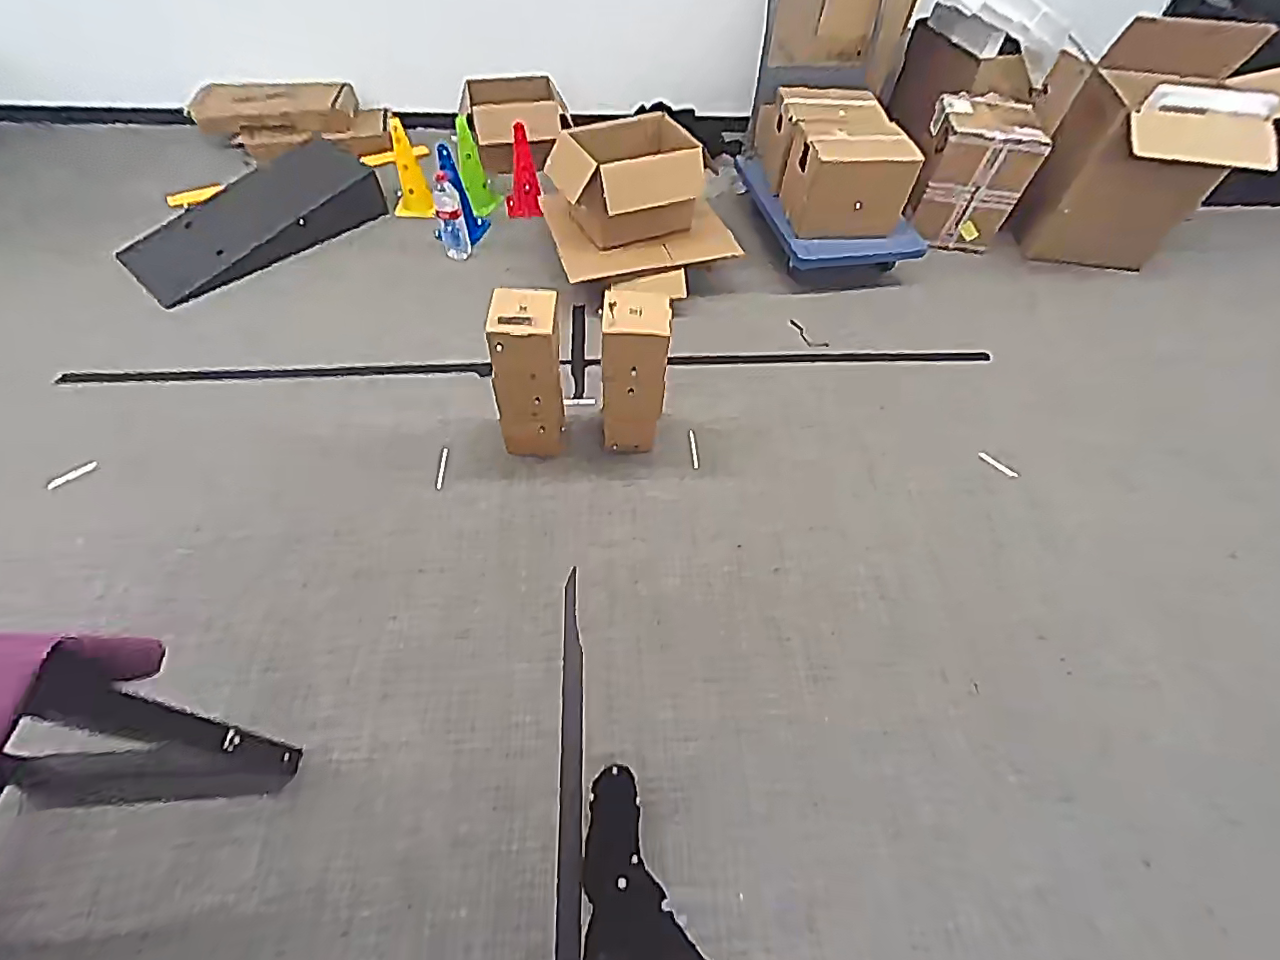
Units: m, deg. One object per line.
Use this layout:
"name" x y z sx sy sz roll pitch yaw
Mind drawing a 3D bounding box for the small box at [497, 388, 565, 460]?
"small box" -0.338 -0.179 1.709 0.179 0.176 0.168 3 54 -1

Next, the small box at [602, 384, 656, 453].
"small box" -0.037 -0.198 1.740 0.168 0.176 0.179 -2 54 -5

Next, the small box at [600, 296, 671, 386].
"small box" -0.013 -0.370 1.460 0.179 0.176 0.168 3 55 -3

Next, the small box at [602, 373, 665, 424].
"small box" -0.022 -0.279 1.596 0.179 0.176 0.168 0 56 -4

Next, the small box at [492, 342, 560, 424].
"small box" -0.327 -0.279 1.582 0.168 0.176 0.179 3 53 -4
